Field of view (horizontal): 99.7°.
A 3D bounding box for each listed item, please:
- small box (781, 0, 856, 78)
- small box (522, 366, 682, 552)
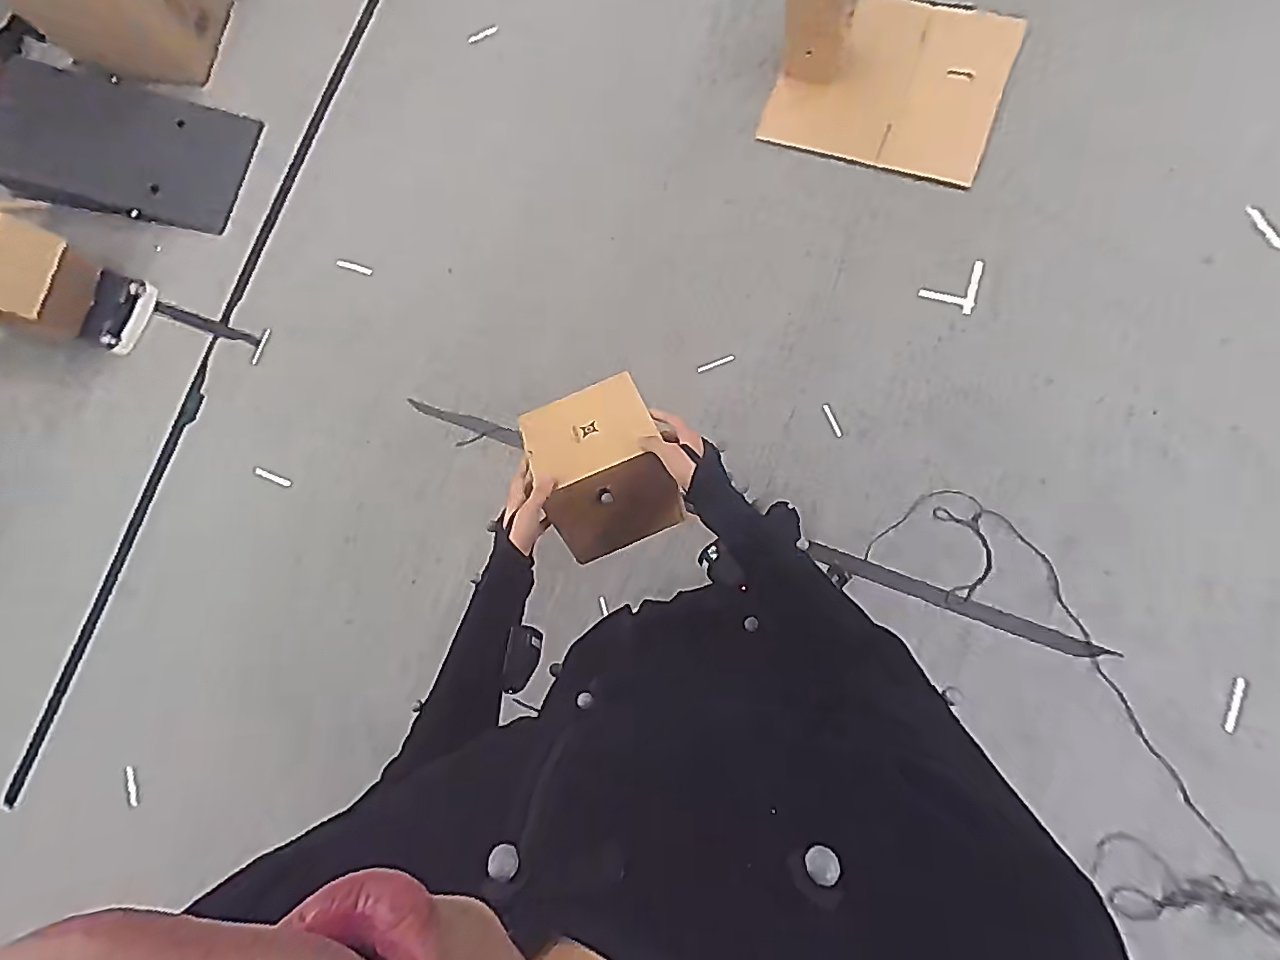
[{"bbox_3d":[0.567,-1.431,1.724,0.179,0.176,0.168,20,84,12],"label":"small box"},{"bbox_3d":[-0.048,-0.026,0.778,0.179,0.176,0.168,-23,49,0],"label":"small box"}]
